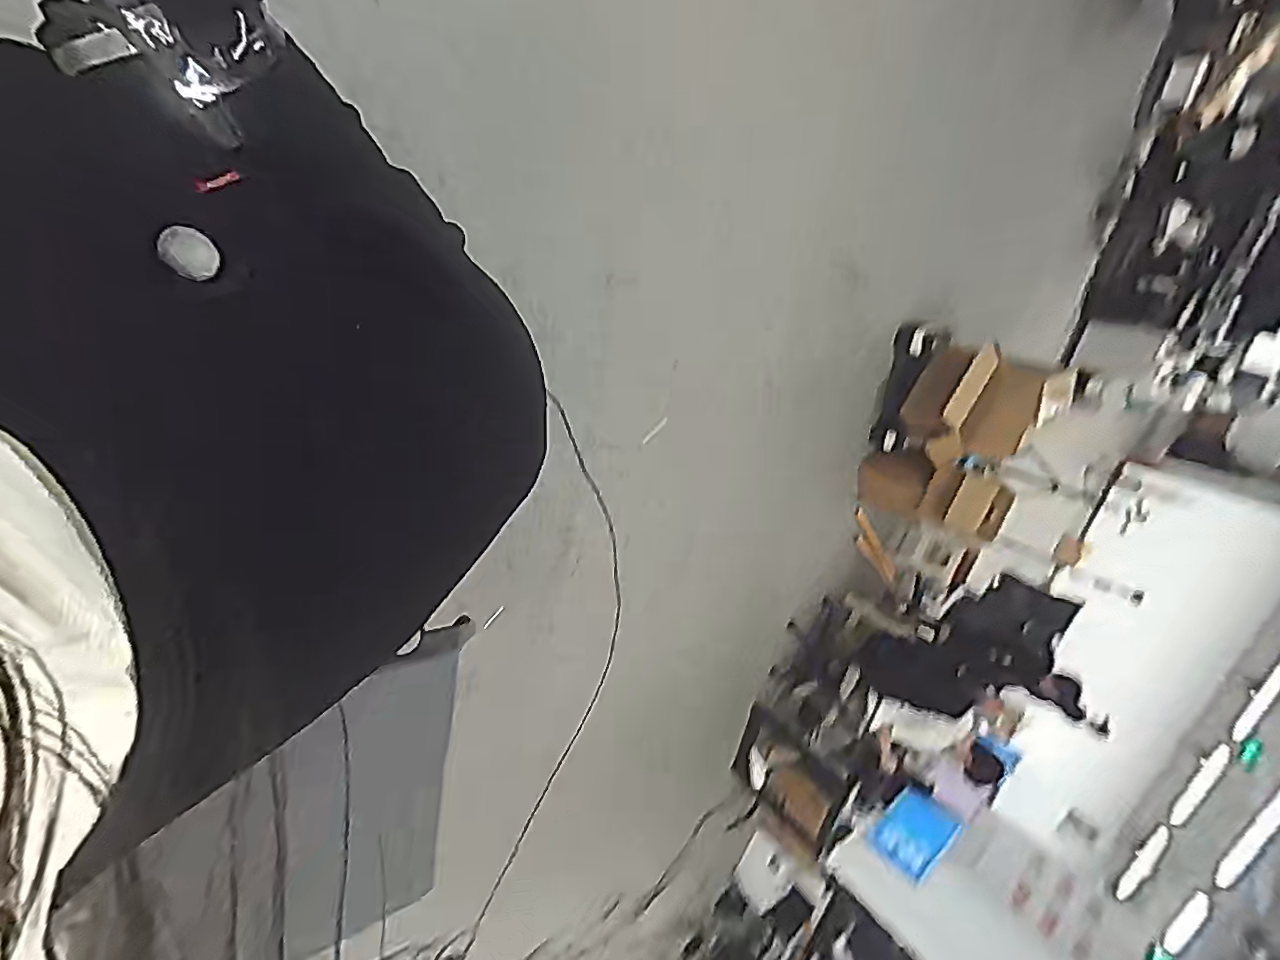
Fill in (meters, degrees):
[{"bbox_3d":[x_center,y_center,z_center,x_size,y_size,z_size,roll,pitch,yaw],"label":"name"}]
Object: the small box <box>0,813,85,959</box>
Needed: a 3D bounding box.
[{"bbox_3d":[-0.699,0.491,0.554,0.179,0.176,0.168,0,115,-41],"label":"small box"}]
